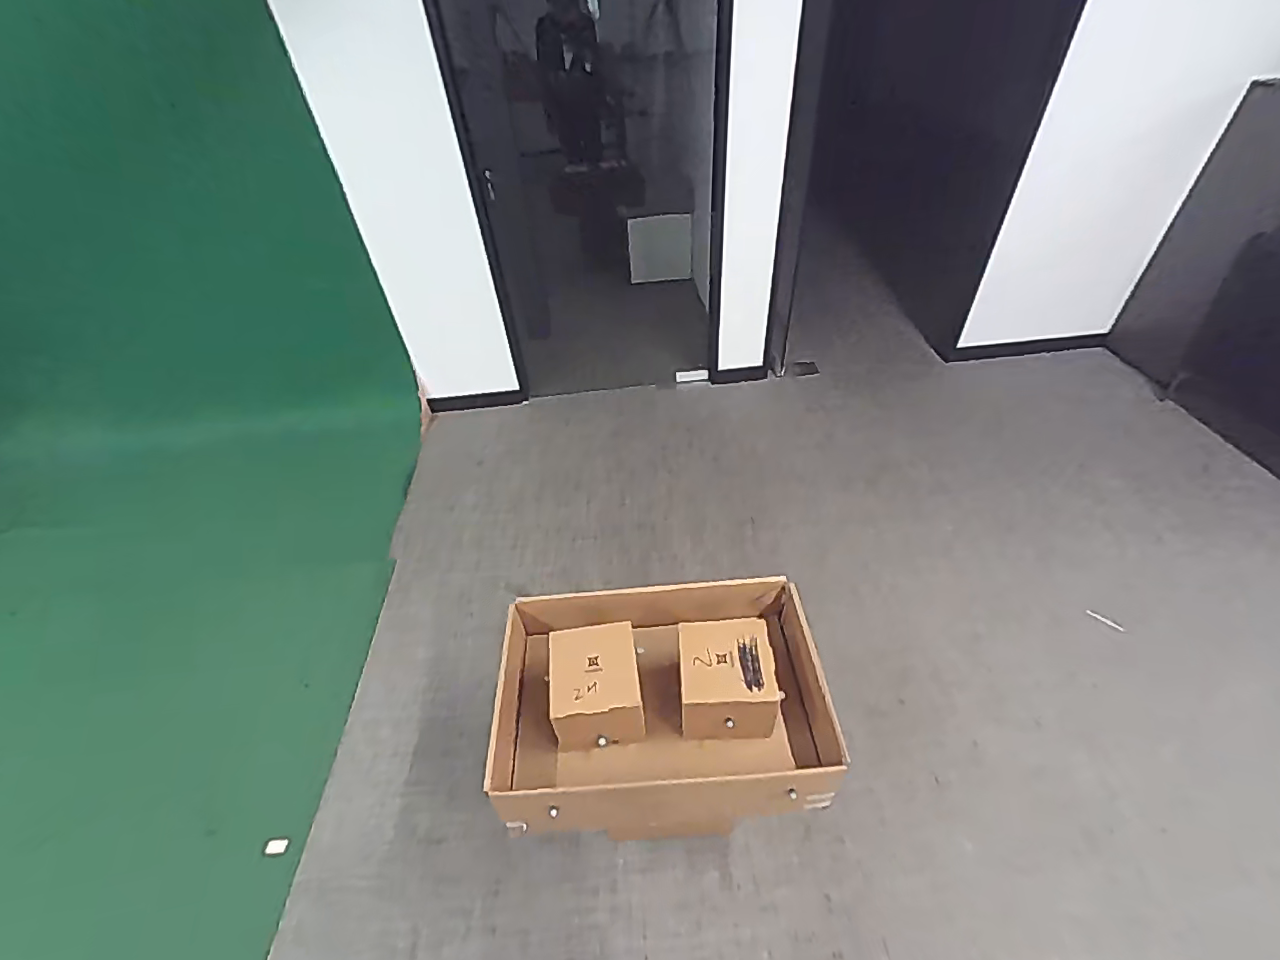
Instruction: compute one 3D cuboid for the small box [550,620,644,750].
[{"bbox_3d":[-0.083,0.405,1.069,0.168,0.176,0.179,-7,43,-3],"label":"small box"}]
